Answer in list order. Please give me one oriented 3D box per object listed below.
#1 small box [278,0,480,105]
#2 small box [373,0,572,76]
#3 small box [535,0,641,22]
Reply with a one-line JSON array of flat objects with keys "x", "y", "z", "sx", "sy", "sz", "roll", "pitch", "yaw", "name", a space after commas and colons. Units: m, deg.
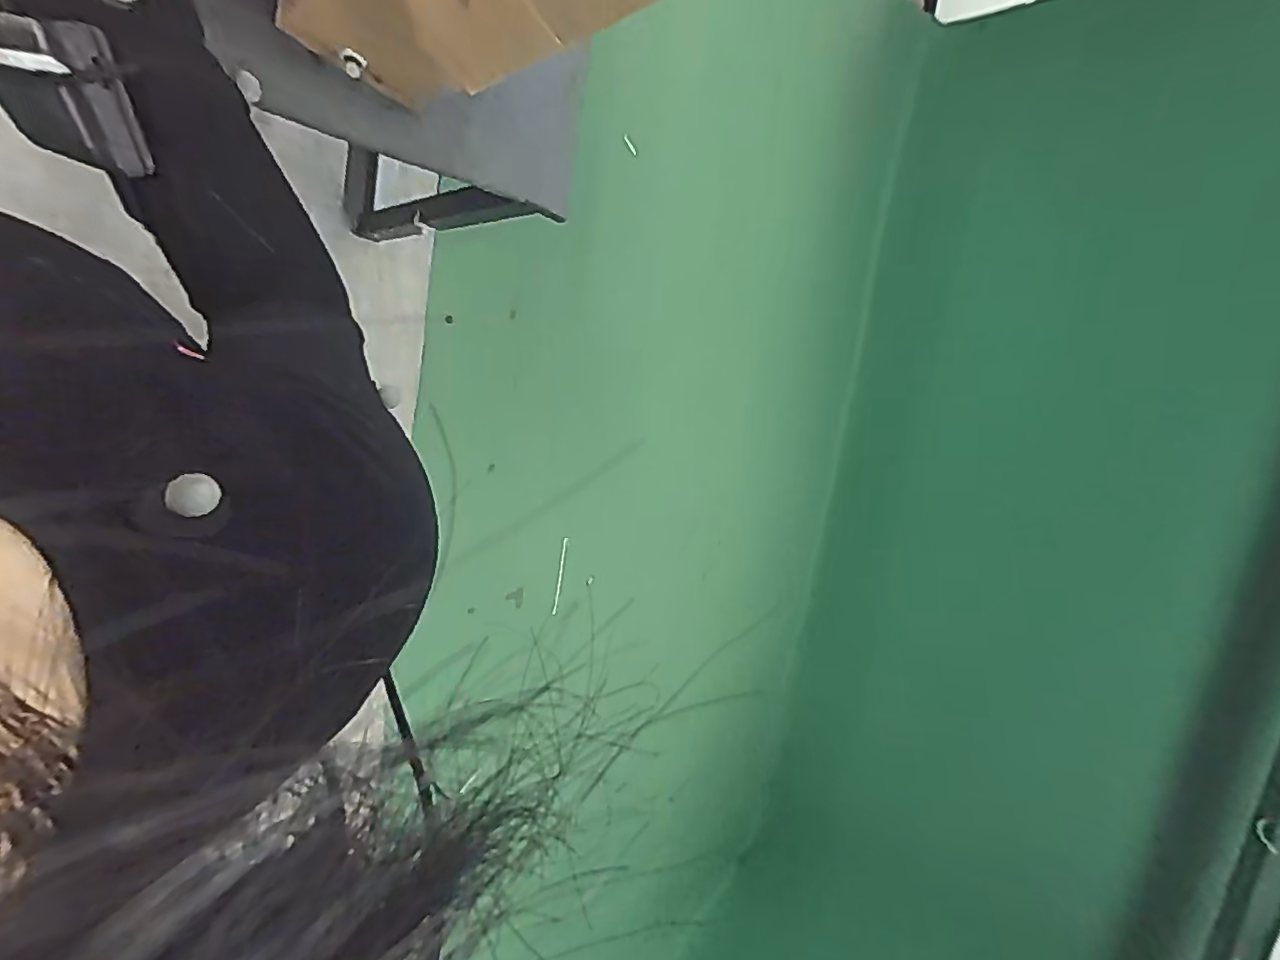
[{"x": -0.276, "y": -0.562, "z": 0.595, "sx": 0.168, "sy": 0.176, "sz": 0.179, "roll": 3, "pitch": 100, "yaw": -49, "name": "small box"}, {"x": -0.158, "y": -0.515, "z": 0.493, "sx": 0.179, "sy": 0.176, "sz": 0.168, "roll": 20, "pitch": 86, "yaw": -49, "name": "small box"}, {"x": -0.034, "y": -0.485, "z": 0.388, "sx": 0.179, "sy": 0.176, "sz": 0.168, "roll": 22, "pitch": 84, "yaw": -49, "name": "small box"}]
